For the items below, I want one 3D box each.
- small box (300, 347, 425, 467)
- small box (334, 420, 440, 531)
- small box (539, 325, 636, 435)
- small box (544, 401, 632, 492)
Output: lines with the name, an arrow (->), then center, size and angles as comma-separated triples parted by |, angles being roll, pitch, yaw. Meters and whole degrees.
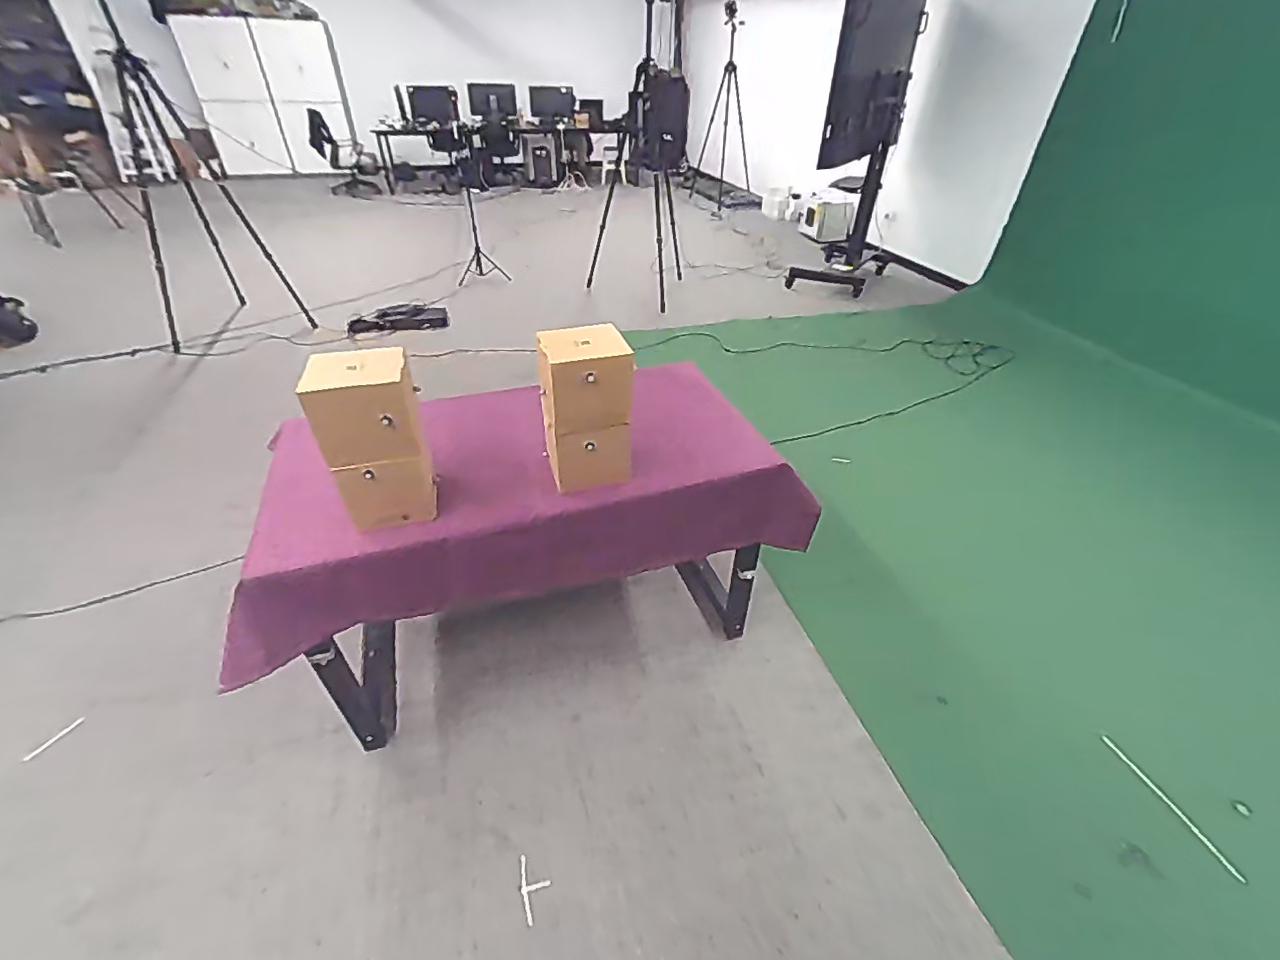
small box -> -0.534, -0.145, 1.073 | 0.179, 0.176, 0.168 | -9, 38, -12
small box -> -0.537, -0.016, 1.173 | 0.168, 0.176, 0.179 | -10, 38, -13
small box -> -0.115, -0.218, 1.181 | 0.179, 0.176, 0.168 | -11, 40, -14
small box -> -0.121, -0.089, 1.279 | 0.179, 0.176, 0.168 | -10, 39, -15
